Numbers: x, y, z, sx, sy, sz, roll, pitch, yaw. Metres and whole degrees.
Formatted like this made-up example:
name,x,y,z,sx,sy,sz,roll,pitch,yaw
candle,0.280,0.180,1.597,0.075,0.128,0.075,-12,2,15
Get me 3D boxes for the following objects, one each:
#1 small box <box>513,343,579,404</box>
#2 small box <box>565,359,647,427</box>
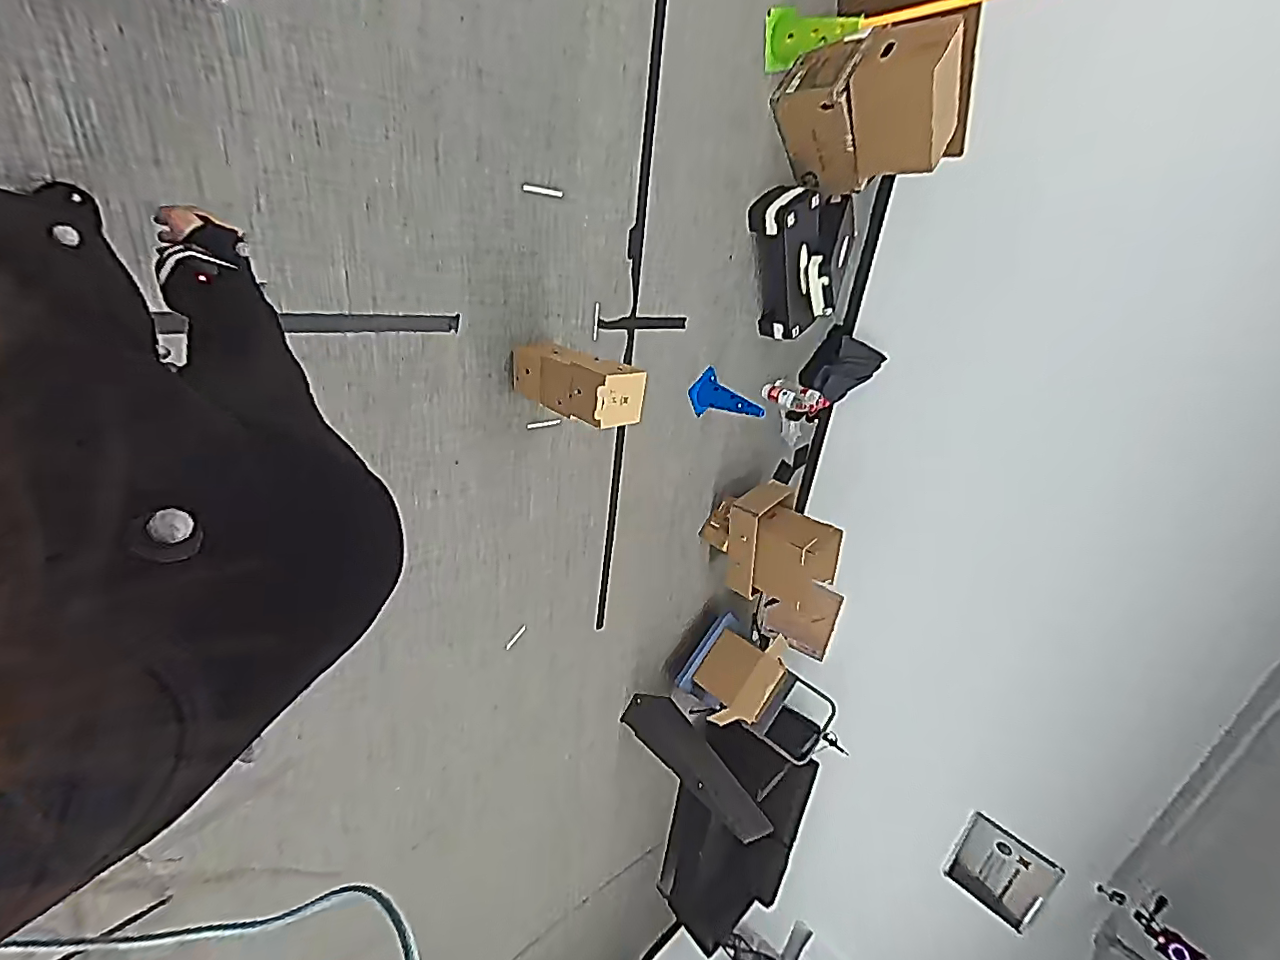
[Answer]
name,x,y,z,sx,sy,sz,roll,pitch,yaw
small box,-0.334,-0.381,1.906,0.179,0.176,0.168,-21,126,-40
small box,-0.108,-0.278,1.687,0.179,0.176,0.168,-15,123,-43
